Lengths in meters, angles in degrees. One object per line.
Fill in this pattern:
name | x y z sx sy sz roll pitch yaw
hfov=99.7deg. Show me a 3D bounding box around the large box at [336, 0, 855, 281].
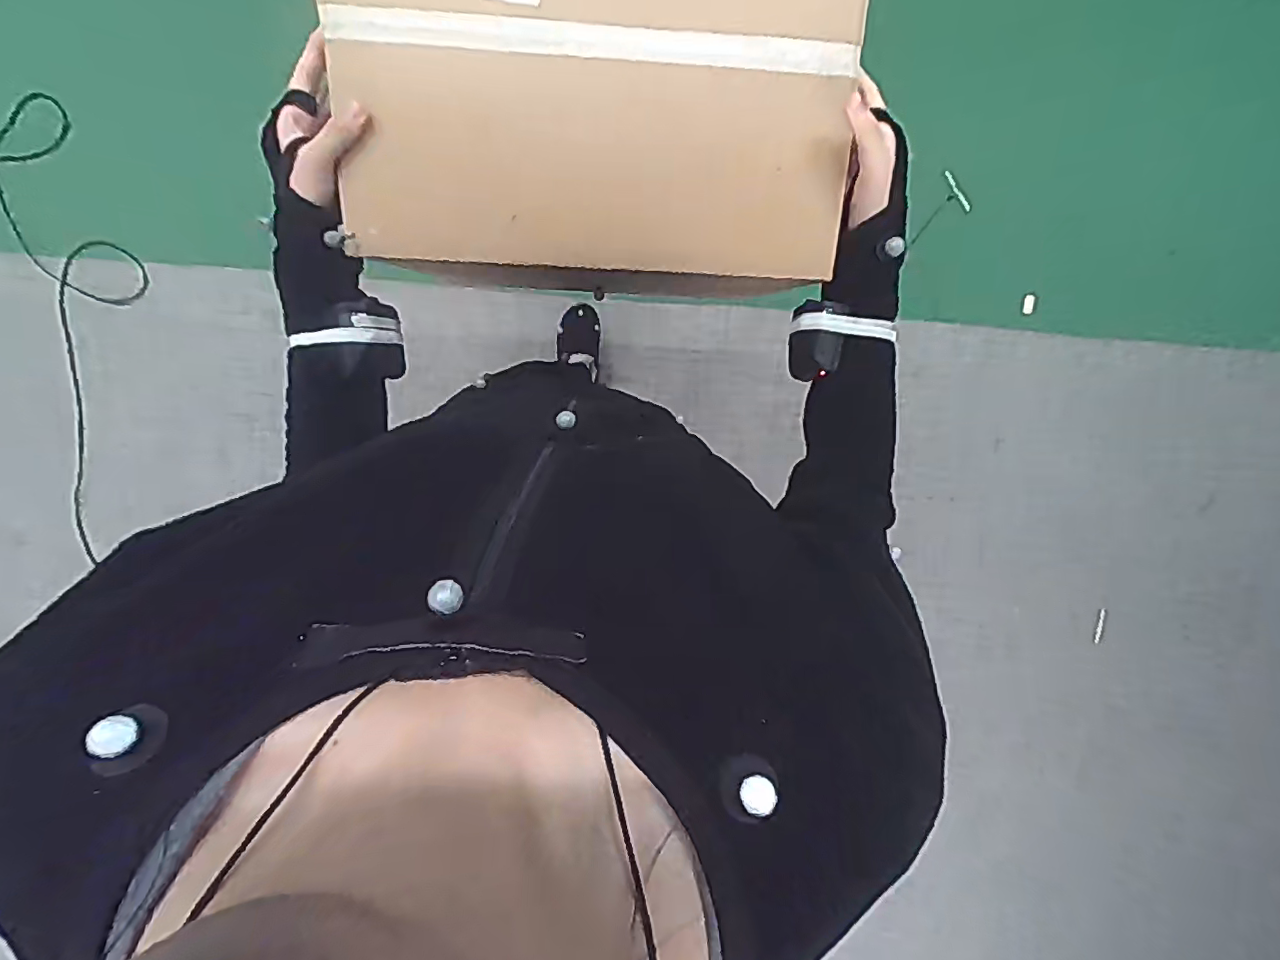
large box | -0.037 -0.381 0.563 0.408 0.320 0.320 2 107 -3
